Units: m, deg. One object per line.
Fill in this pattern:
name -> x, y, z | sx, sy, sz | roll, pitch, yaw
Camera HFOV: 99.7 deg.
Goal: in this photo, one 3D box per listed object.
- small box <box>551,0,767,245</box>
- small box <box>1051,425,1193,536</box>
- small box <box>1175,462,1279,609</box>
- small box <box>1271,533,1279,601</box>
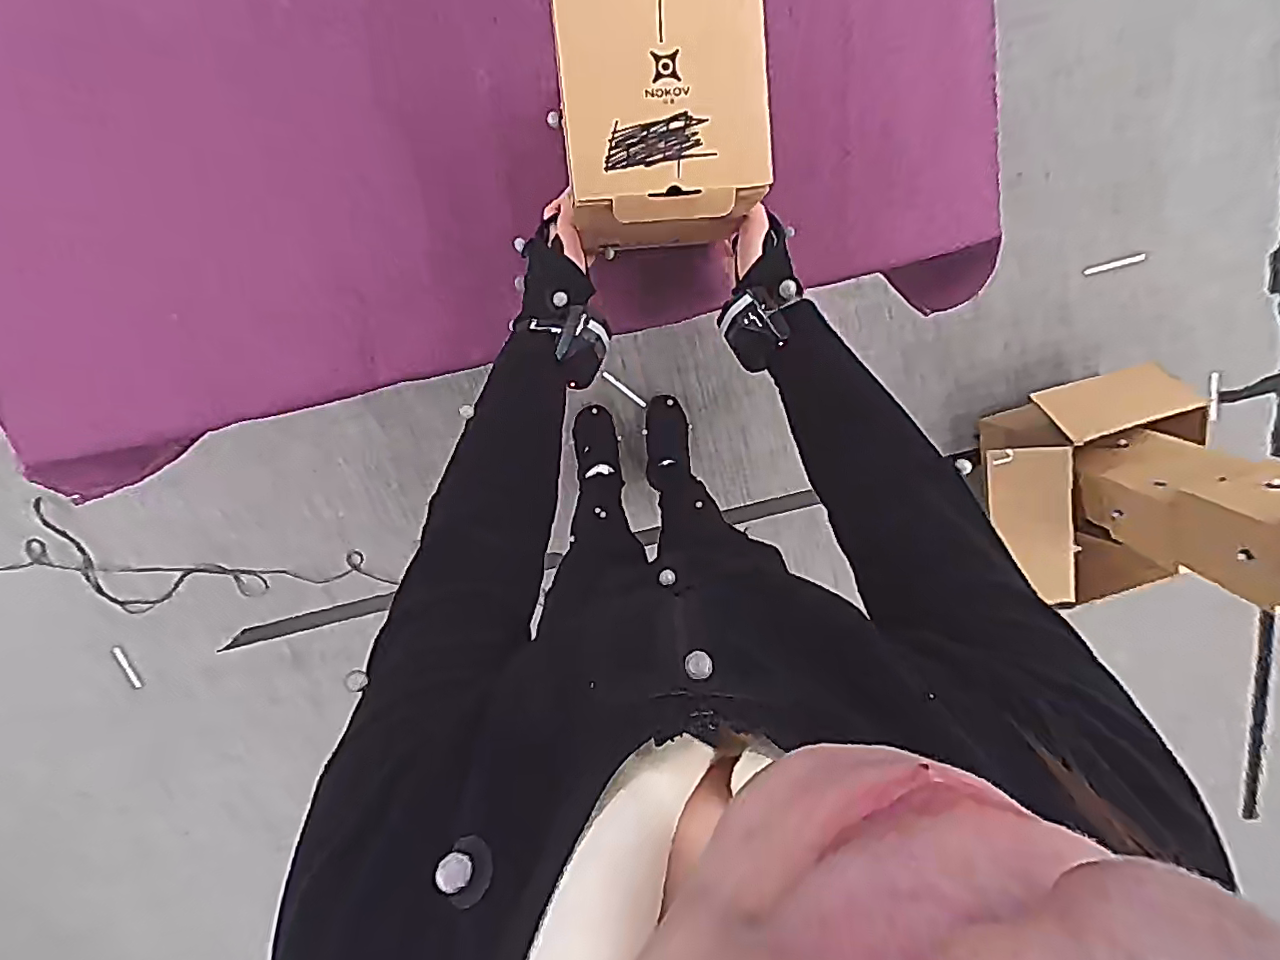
small box -> 0.012, -0.329, 0.503 | 0.168, 0.176, 0.179 | -6, 100, -4
small box -> 1.096, -0.009, 1.237 | 0.168, 0.176, 0.179 | -34, 108, 11
small box -> 1.071, 0.083, 0.921 | 0.168, 0.176, 0.179 | -20, 109, 8
small box -> 1.067, 0.123, 0.761 | 0.179, 0.176, 0.168 | -20, 110, 6
